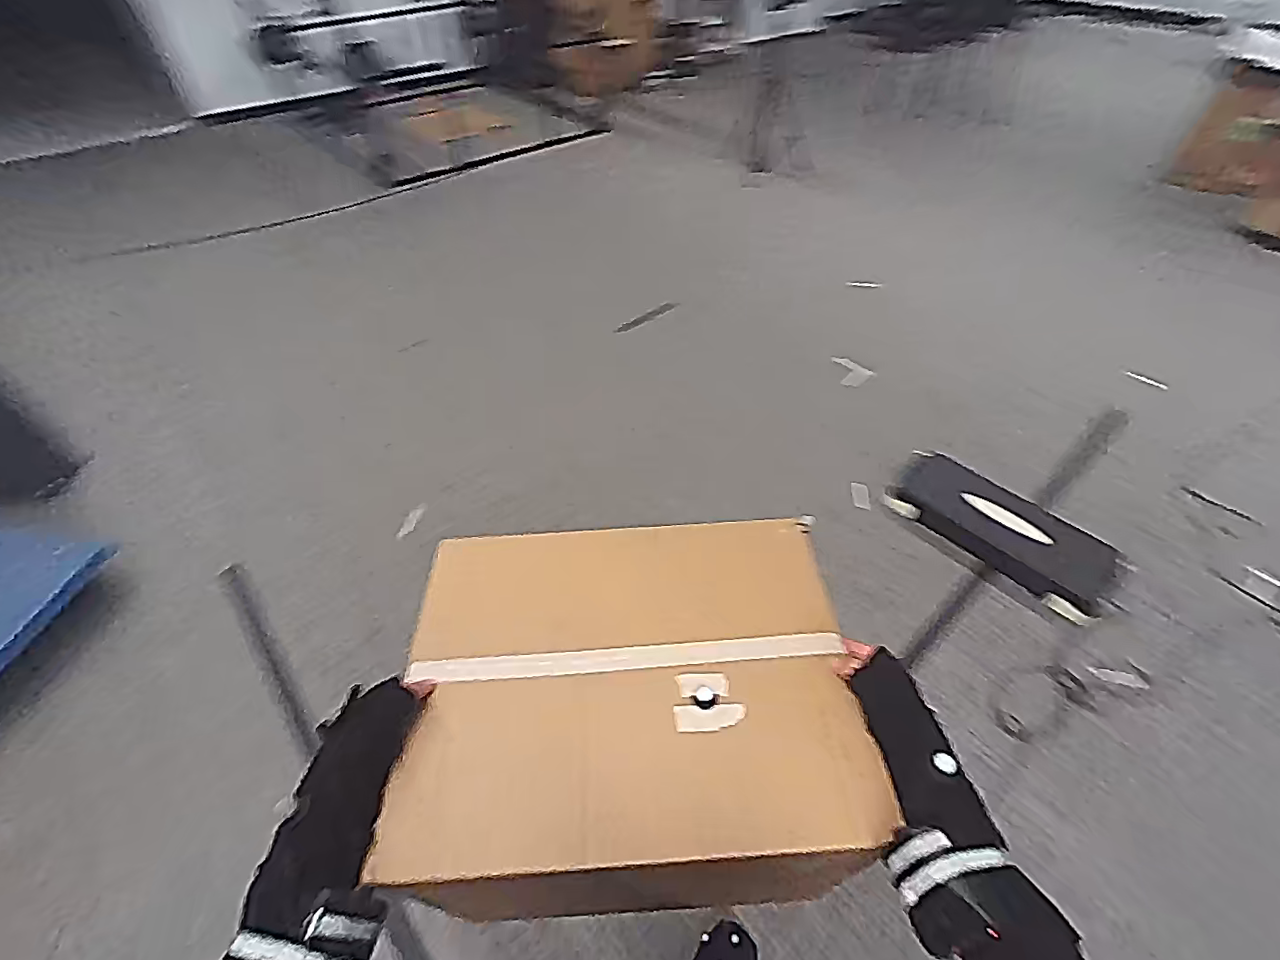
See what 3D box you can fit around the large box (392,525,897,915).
[{"bbox_3d":[0.000,0.276,0.625,0.408,0.320,0.320,-3,46,-1],"label":"large box"}]
